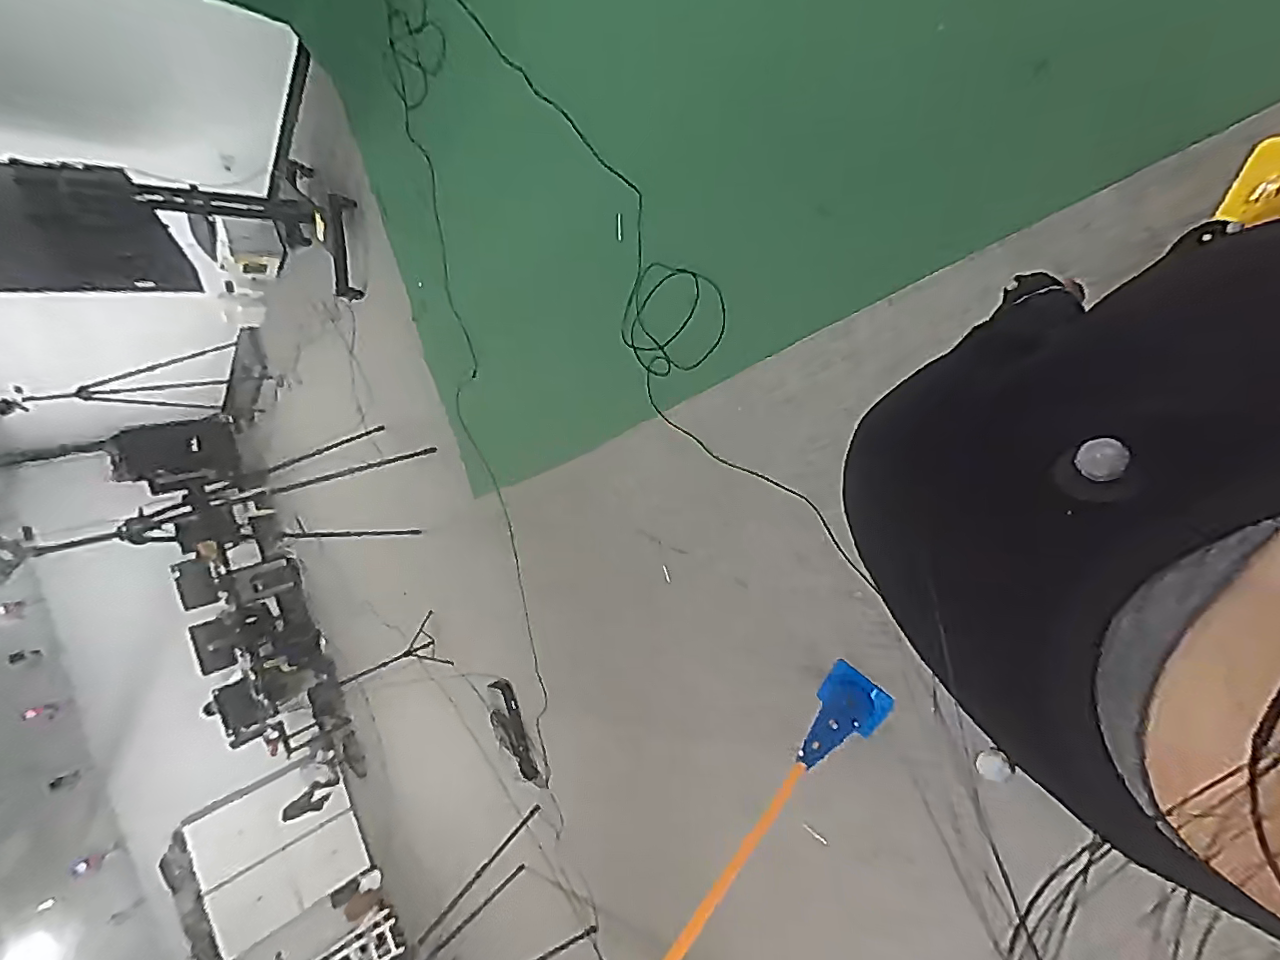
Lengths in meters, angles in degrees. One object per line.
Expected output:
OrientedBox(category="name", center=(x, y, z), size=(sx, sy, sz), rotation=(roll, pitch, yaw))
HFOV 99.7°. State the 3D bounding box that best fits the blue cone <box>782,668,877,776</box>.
OrientedBox(category="blue cone", center=(0.543, 0.762, 1.623), size=(0.192, 0.380, 0.193), rotation=(35, 127, 30))
